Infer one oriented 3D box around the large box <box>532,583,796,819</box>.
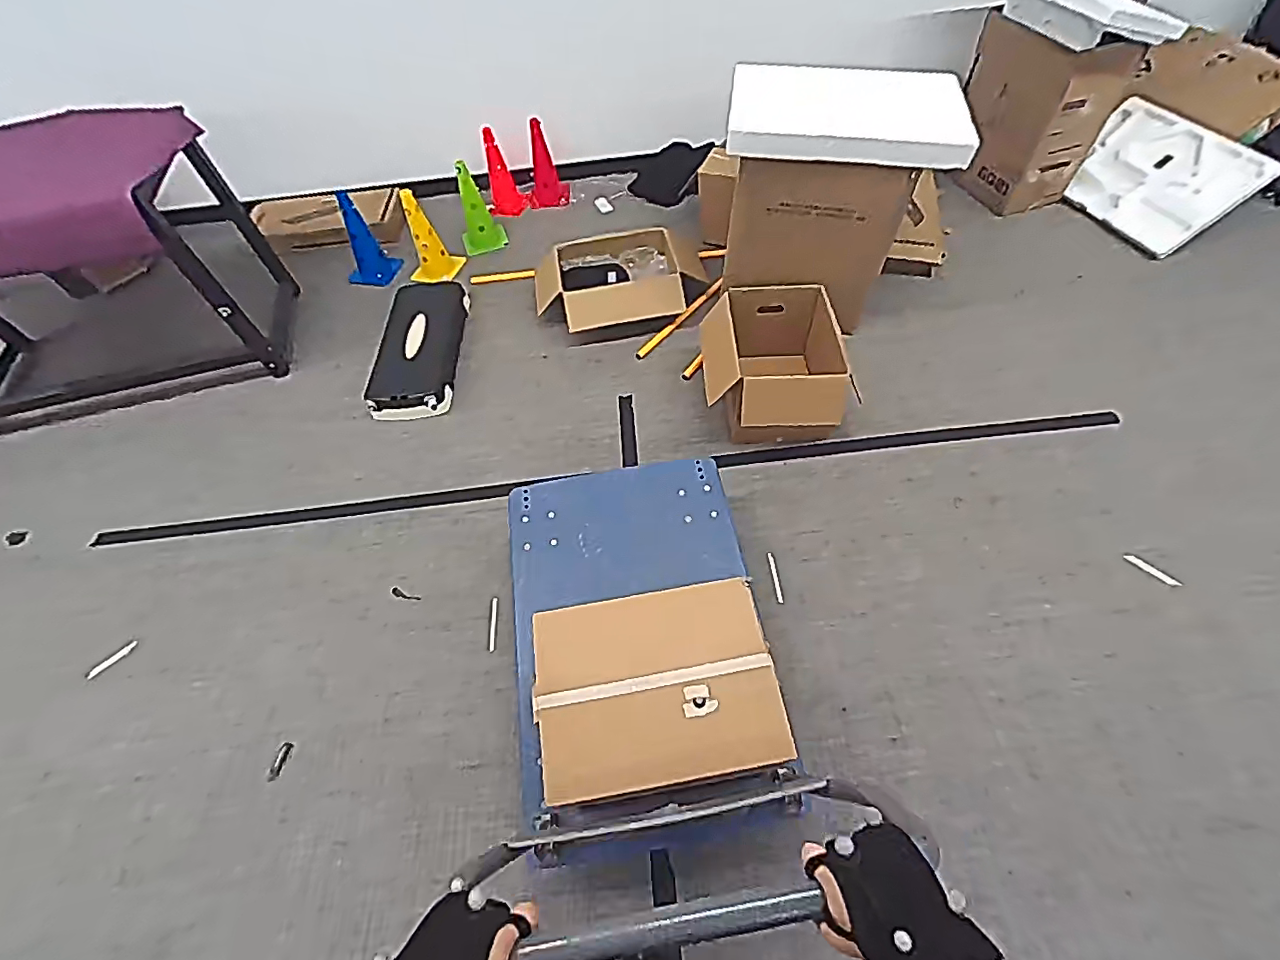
[{"bbox_3d":[0.030,0.431,1.040,0.408,0.320,0.320,-10,60,-4],"label":"large box"}]
